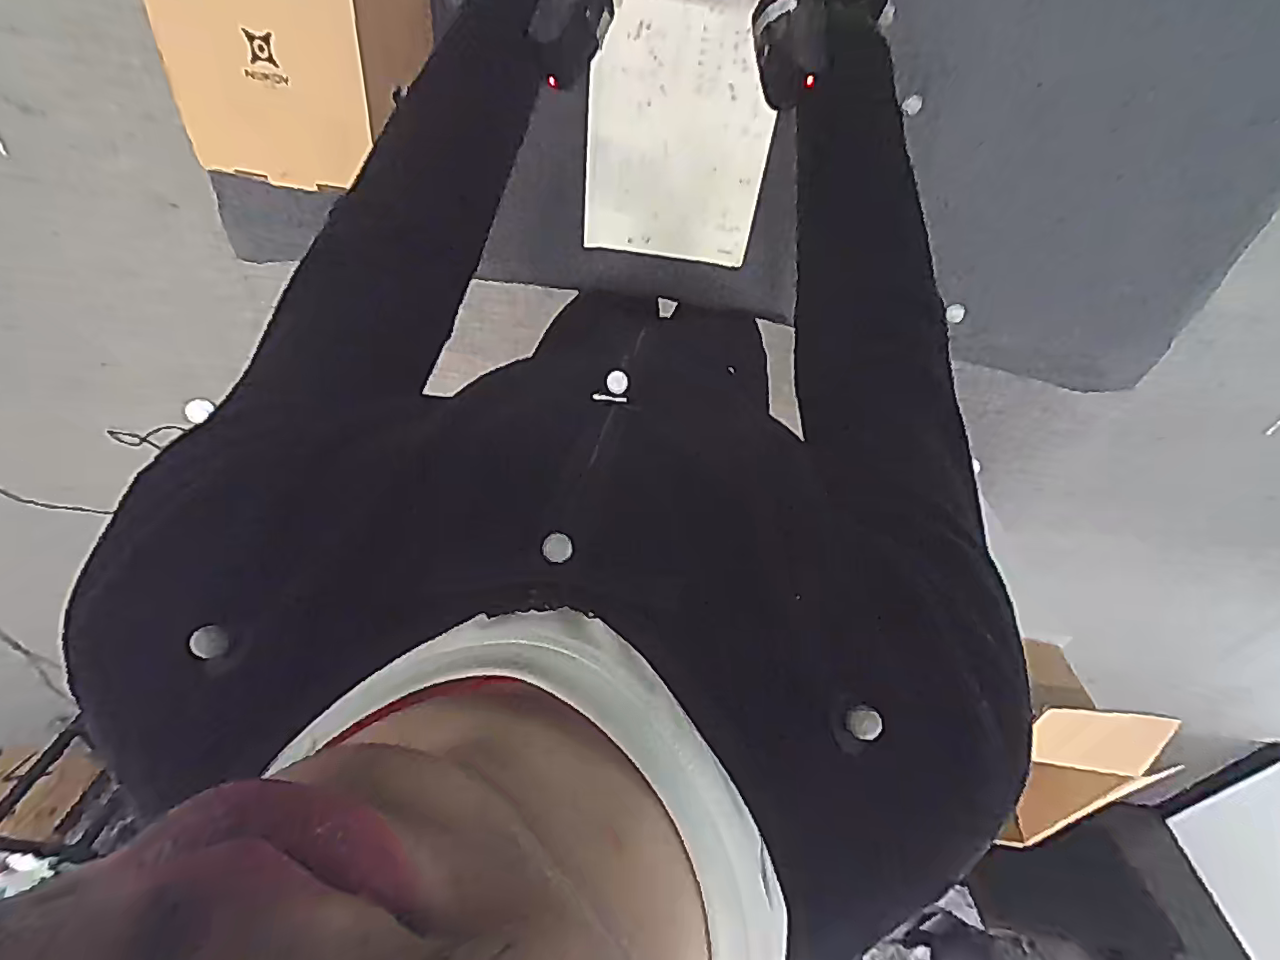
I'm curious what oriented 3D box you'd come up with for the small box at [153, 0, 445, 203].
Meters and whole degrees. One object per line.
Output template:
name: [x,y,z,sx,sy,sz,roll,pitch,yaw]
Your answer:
small box: [-0.293,-0.384,0.502,0.168,0.176,0.179,9,129,-2]
